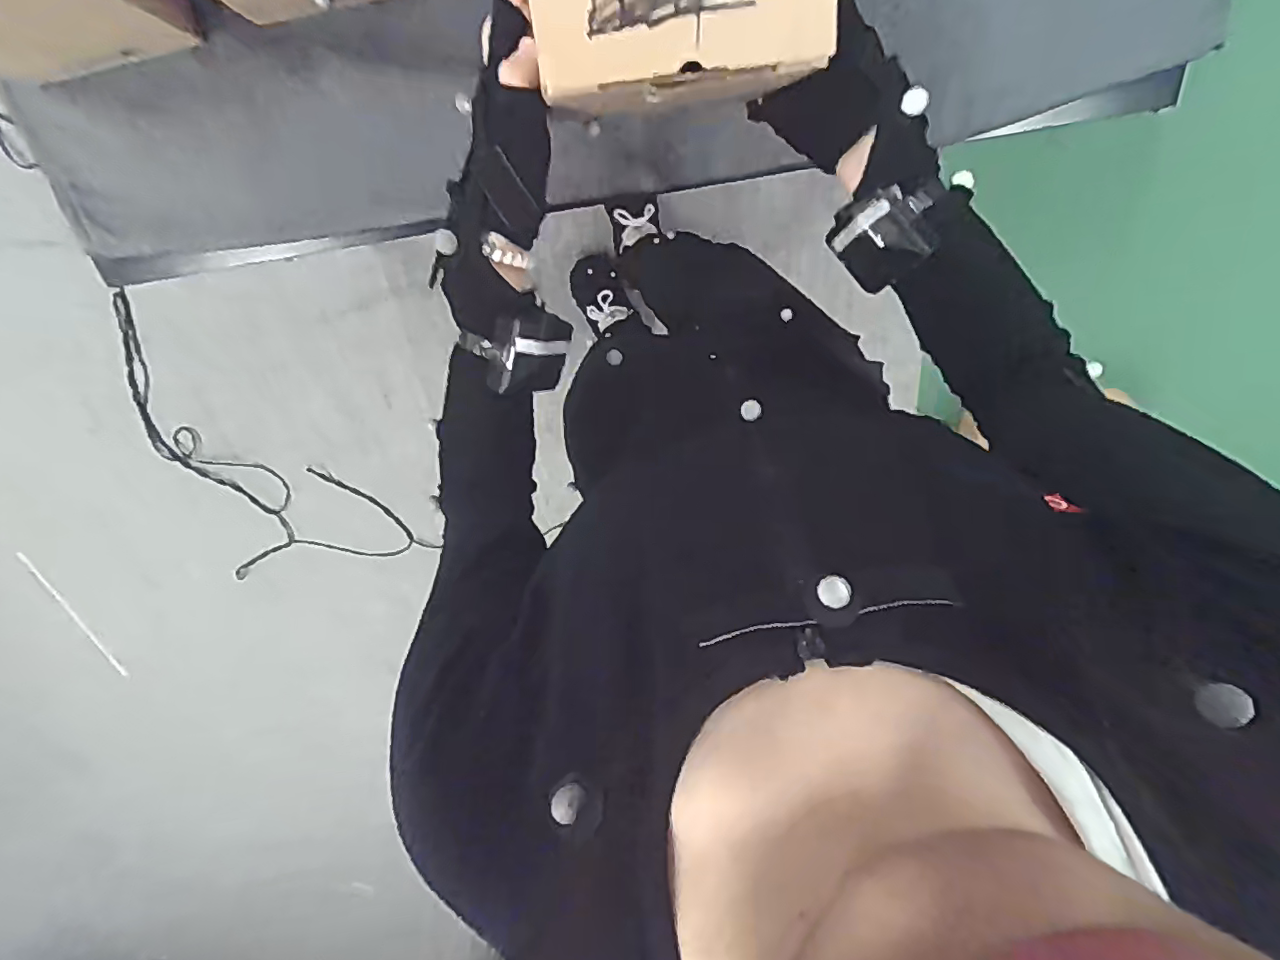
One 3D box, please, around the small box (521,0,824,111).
[{"bbox_3d":[0.006,-0.342,0.332,0.168,0.176,0.179,-8,118,-3],"label":"small box"}]
